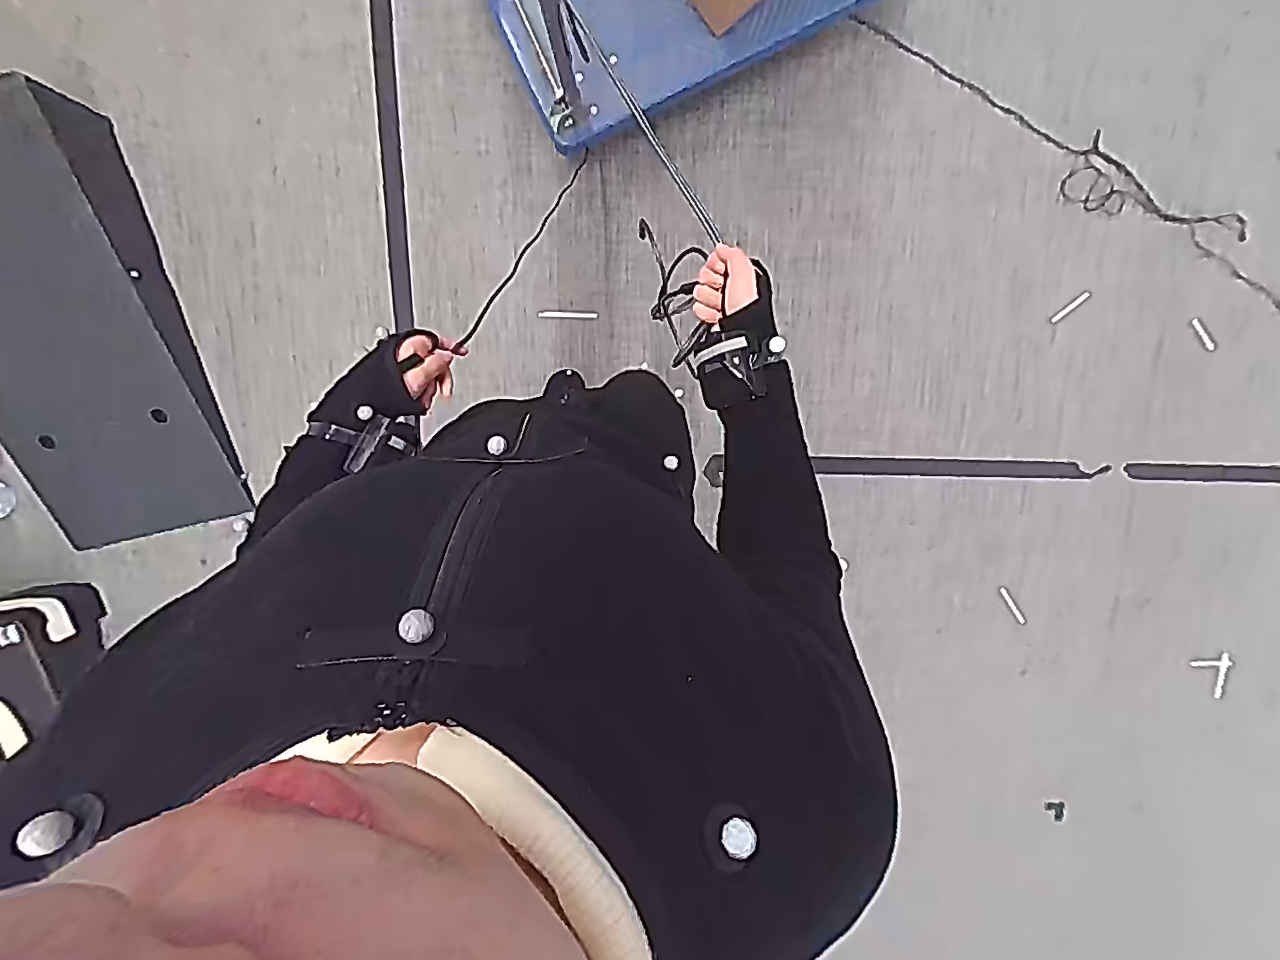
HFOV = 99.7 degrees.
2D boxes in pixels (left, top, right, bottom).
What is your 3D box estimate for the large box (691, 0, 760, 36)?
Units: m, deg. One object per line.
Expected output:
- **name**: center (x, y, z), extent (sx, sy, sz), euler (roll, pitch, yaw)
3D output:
- **large box**: center (0.159, -1.150, 0.956), extent (0.320, 0.320, 0.408), euler (-40, 101, 5)
